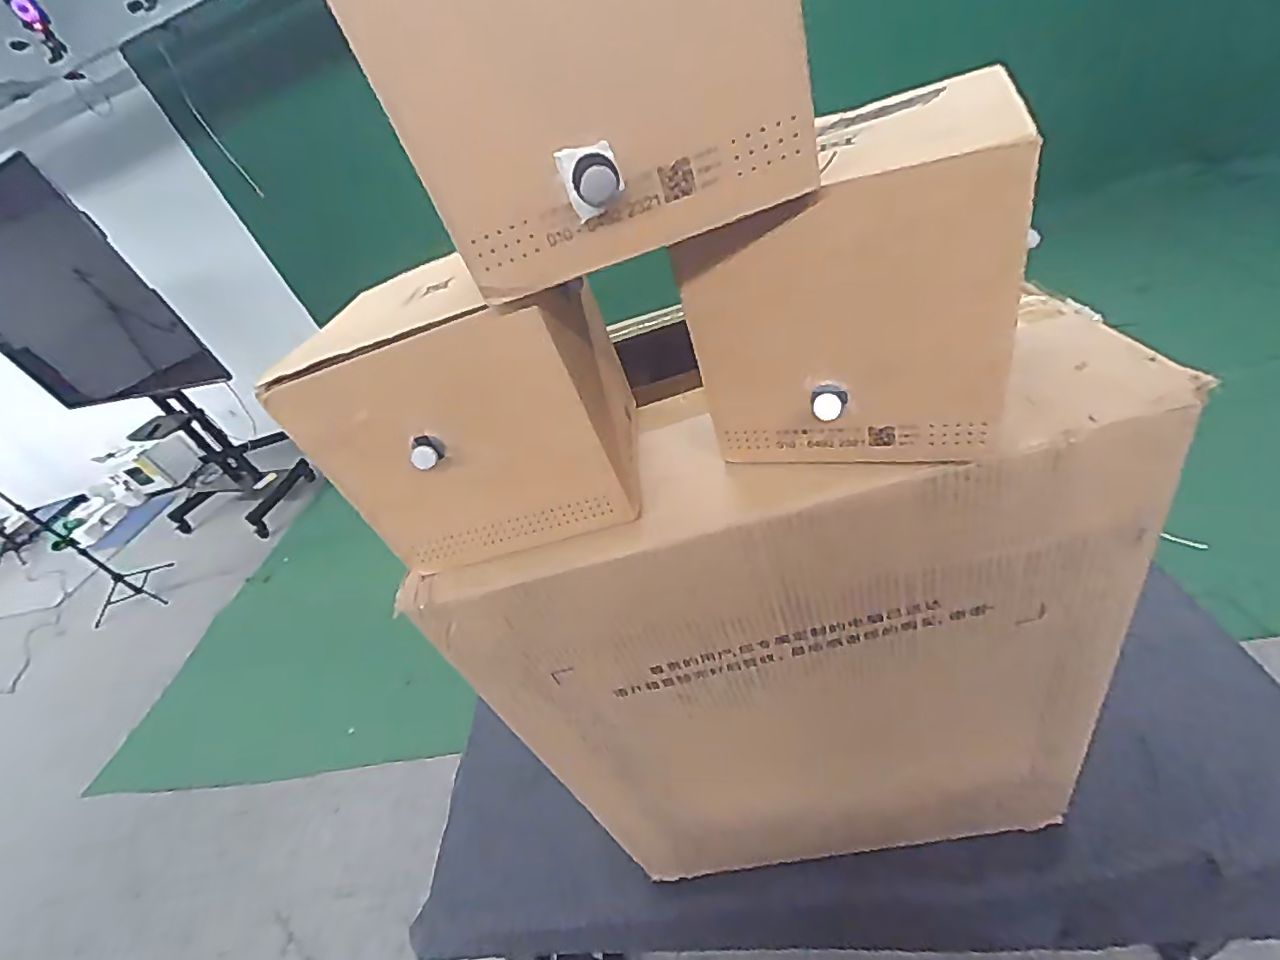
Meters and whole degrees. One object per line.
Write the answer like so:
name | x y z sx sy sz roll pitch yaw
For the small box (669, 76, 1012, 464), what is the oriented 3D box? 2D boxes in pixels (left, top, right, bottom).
small box | 0.133 -0.130 0.359 0.168 0.176 0.179 1 43 28

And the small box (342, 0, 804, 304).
small box | -0.029 -0.216 0.279 0.168 0.176 0.179 -18 38 8

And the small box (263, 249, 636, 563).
small box | -0.113 -0.061 0.405 0.179 0.176 0.168 -16 38 11
